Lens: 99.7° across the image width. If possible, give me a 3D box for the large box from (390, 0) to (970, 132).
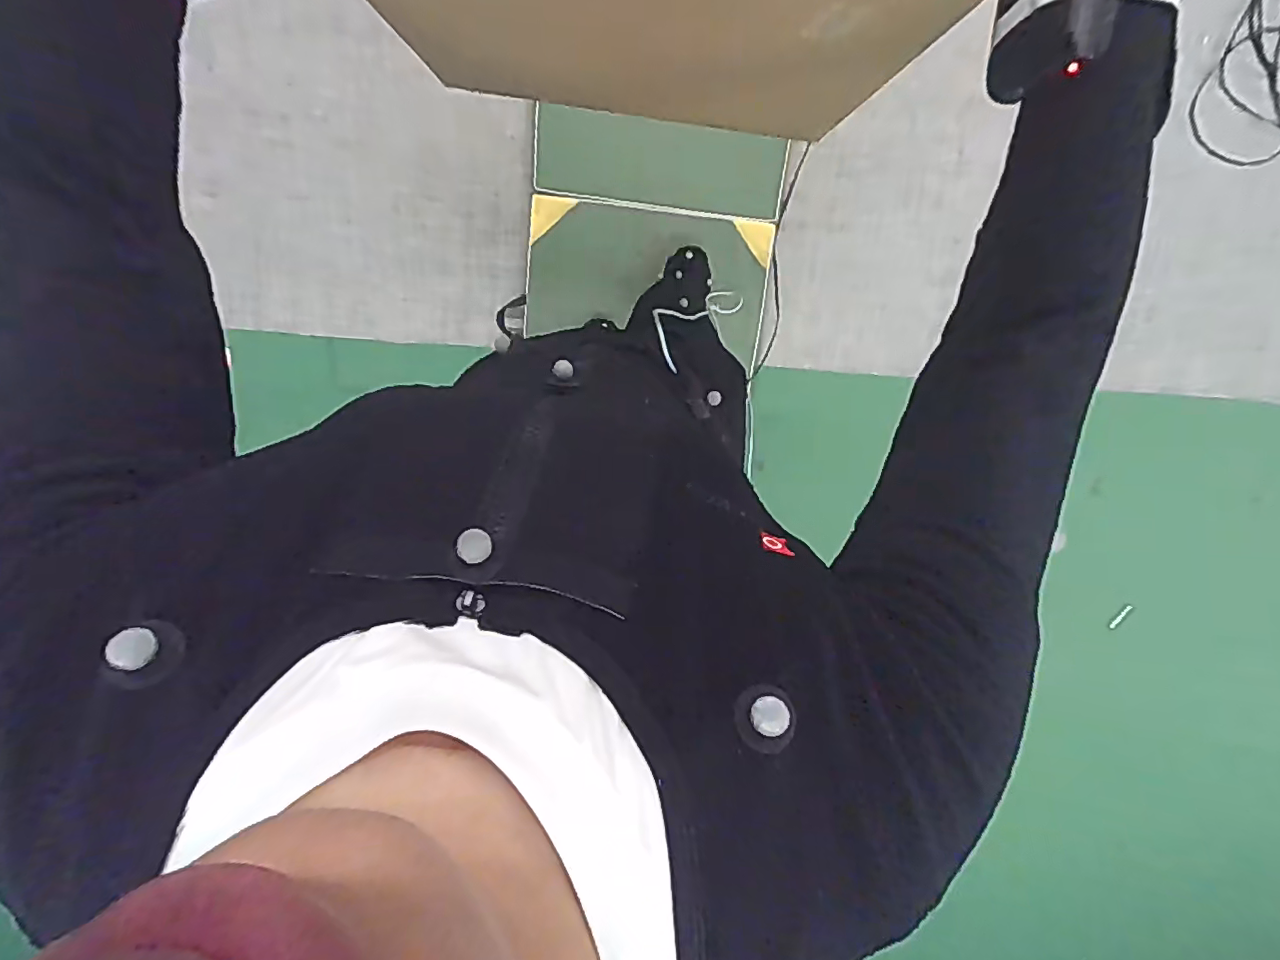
[{"bbox_3d":[0.020,-0.489,0.390,0.408,0.320,0.320,6,109,-4],"label":"large box"}]
